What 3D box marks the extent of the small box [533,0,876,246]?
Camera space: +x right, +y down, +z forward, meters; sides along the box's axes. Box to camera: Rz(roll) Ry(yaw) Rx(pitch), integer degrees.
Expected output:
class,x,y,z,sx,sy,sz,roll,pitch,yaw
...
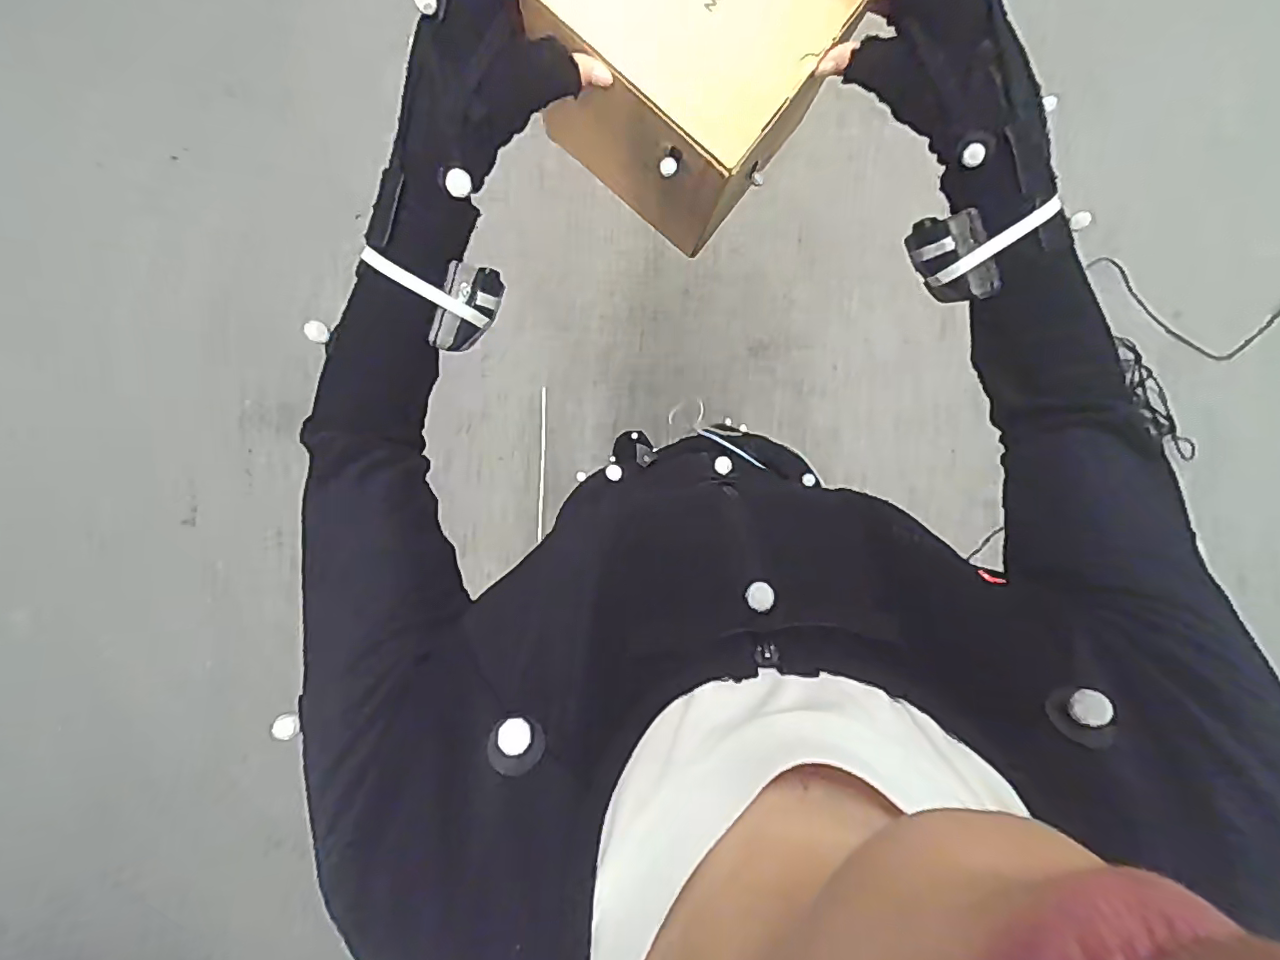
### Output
class,x,y,z,sx,sy,sz,roll,pitch,yaw
small box,0.034,-0.320,0.421,0.179,0.176,0.168,40,90,-7
